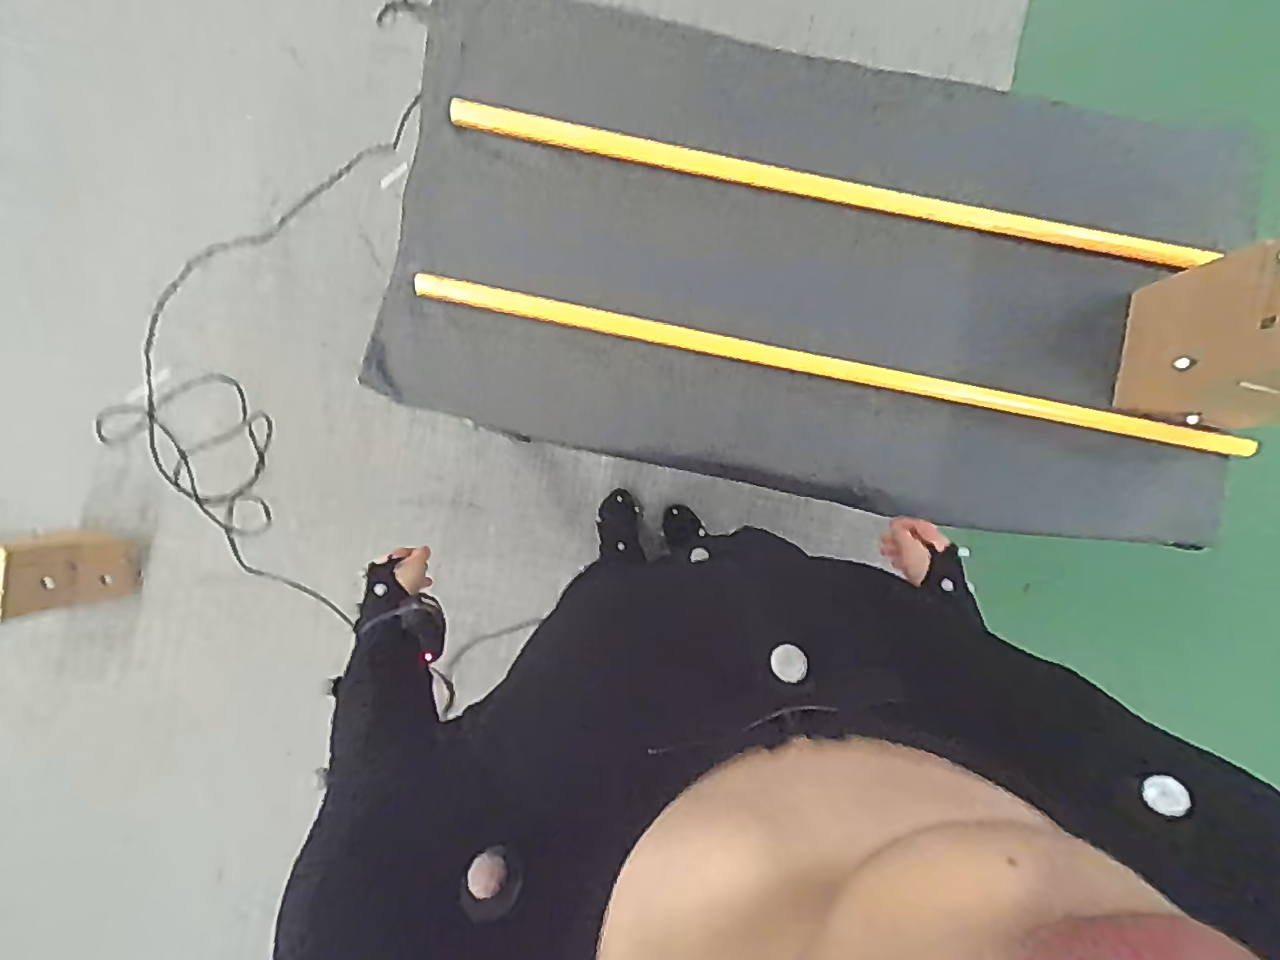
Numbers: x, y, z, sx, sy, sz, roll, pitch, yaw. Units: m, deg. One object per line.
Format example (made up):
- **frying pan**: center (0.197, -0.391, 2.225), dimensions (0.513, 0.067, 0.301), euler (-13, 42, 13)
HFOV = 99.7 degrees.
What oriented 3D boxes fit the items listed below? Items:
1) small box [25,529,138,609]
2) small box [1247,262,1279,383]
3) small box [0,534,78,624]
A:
- **small box**: center (-1.444, 0.220, 1.379), dimensions (0.179, 0.176, 0.168), euler (8, 90, -1)
- **small box**: center (0.780, -0.176, 0.530), dimensions (0.179, 0.176, 0.168), euler (16, 89, -1)
- **small box**: center (-1.433, 0.215, 1.214), dimensions (0.179, 0.176, 0.168), euler (6, 89, -1)
